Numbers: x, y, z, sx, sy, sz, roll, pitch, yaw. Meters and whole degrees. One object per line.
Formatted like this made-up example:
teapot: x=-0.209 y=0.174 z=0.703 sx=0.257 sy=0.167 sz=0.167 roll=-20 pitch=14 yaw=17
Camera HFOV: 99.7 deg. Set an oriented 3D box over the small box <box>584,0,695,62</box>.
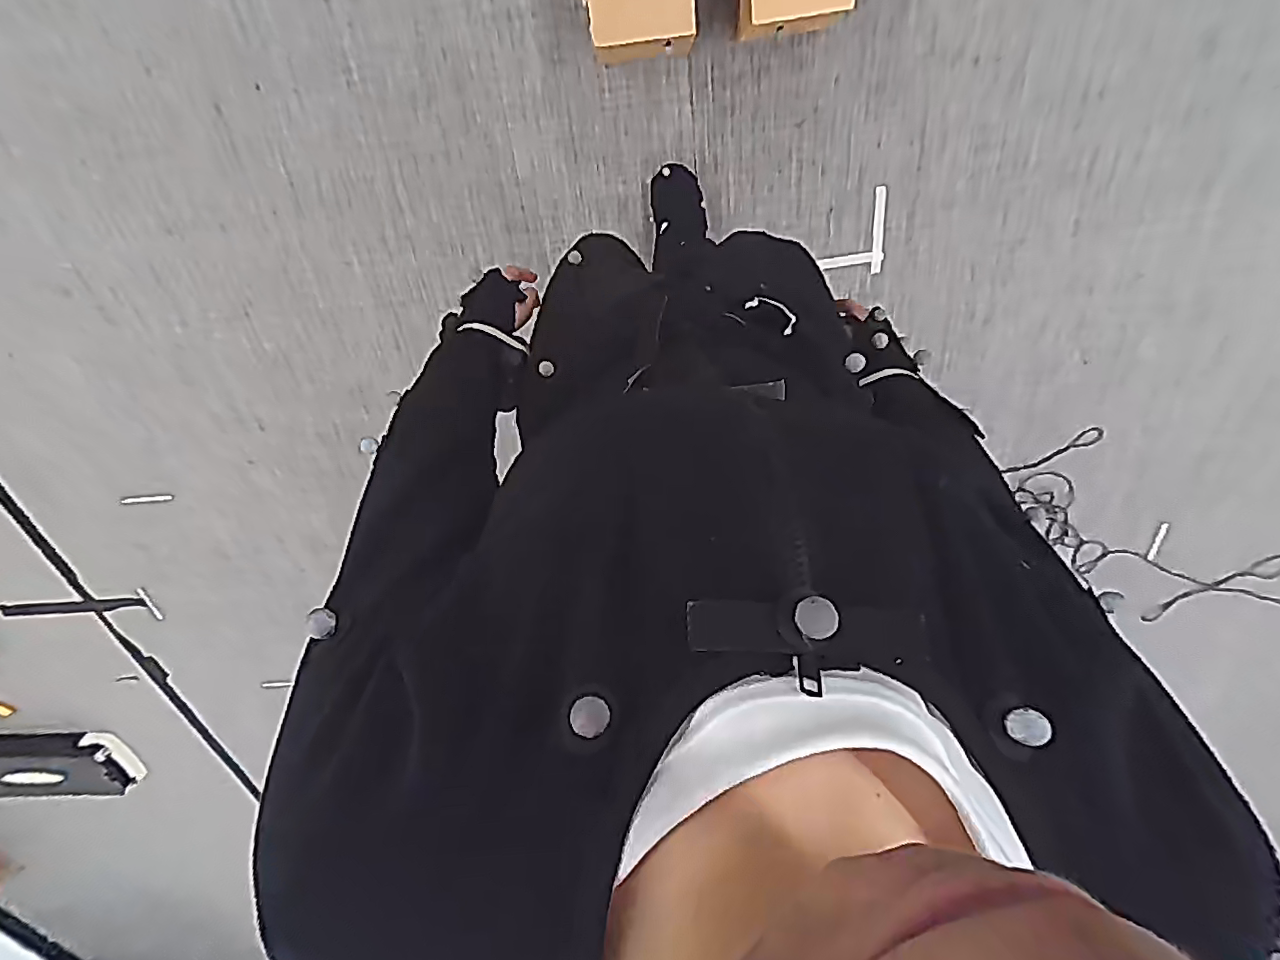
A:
small box: x=-0.004 y=-0.827 z=0.912 sx=0.179 sy=0.176 sz=0.168 roll=-5 pitch=121 yaw=4
